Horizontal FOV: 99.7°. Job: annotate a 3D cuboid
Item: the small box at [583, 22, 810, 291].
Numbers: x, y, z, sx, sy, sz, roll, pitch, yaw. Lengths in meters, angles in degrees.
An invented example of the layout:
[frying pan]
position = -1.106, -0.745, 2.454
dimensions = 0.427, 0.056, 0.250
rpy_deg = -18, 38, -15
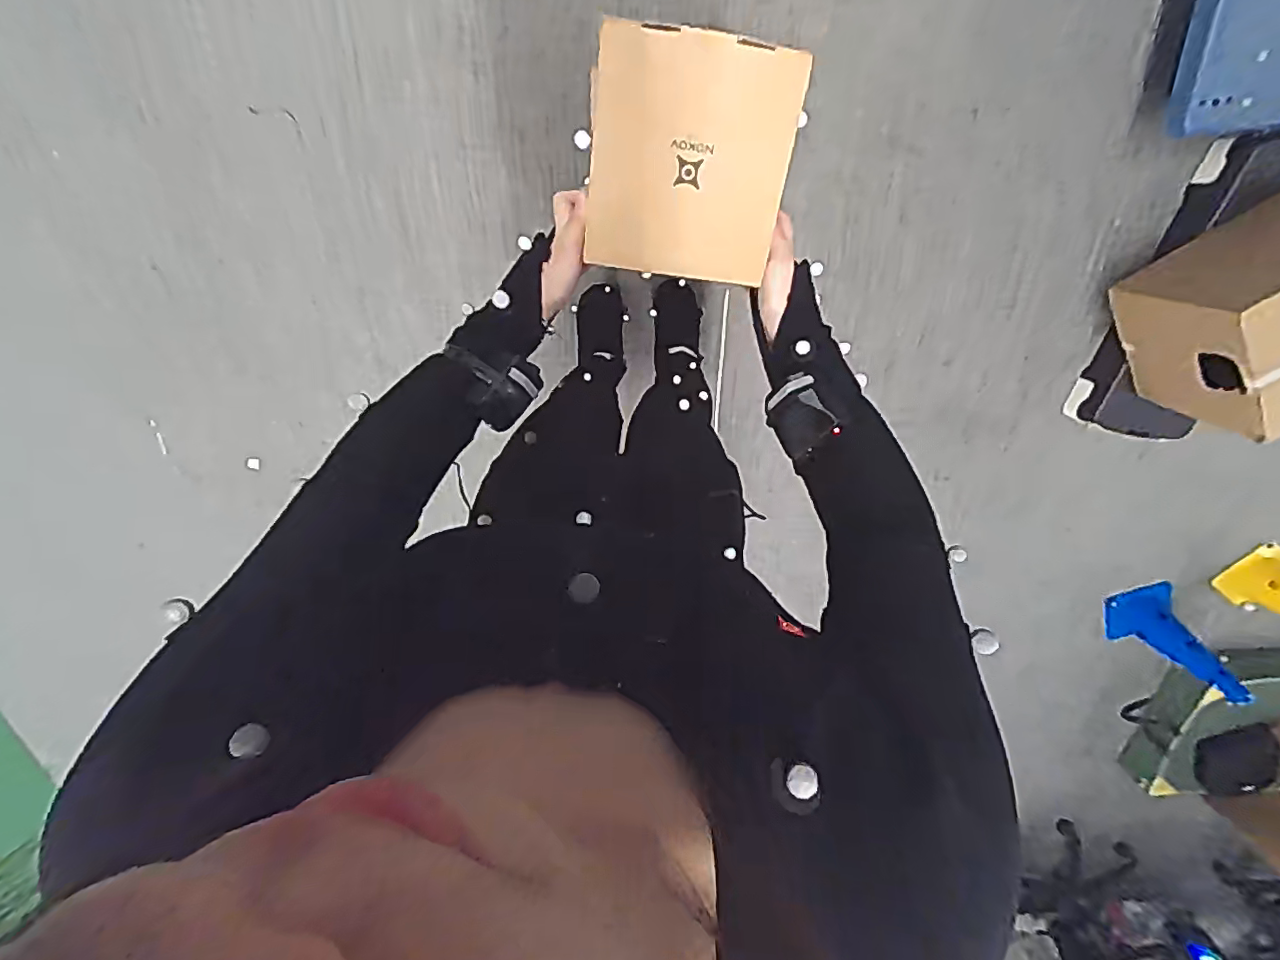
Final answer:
[small box]
position = 0.040, -0.296, 0.519
dimensions = 0.168, 0.176, 0.179
rpy_deg = 6, 118, -5
